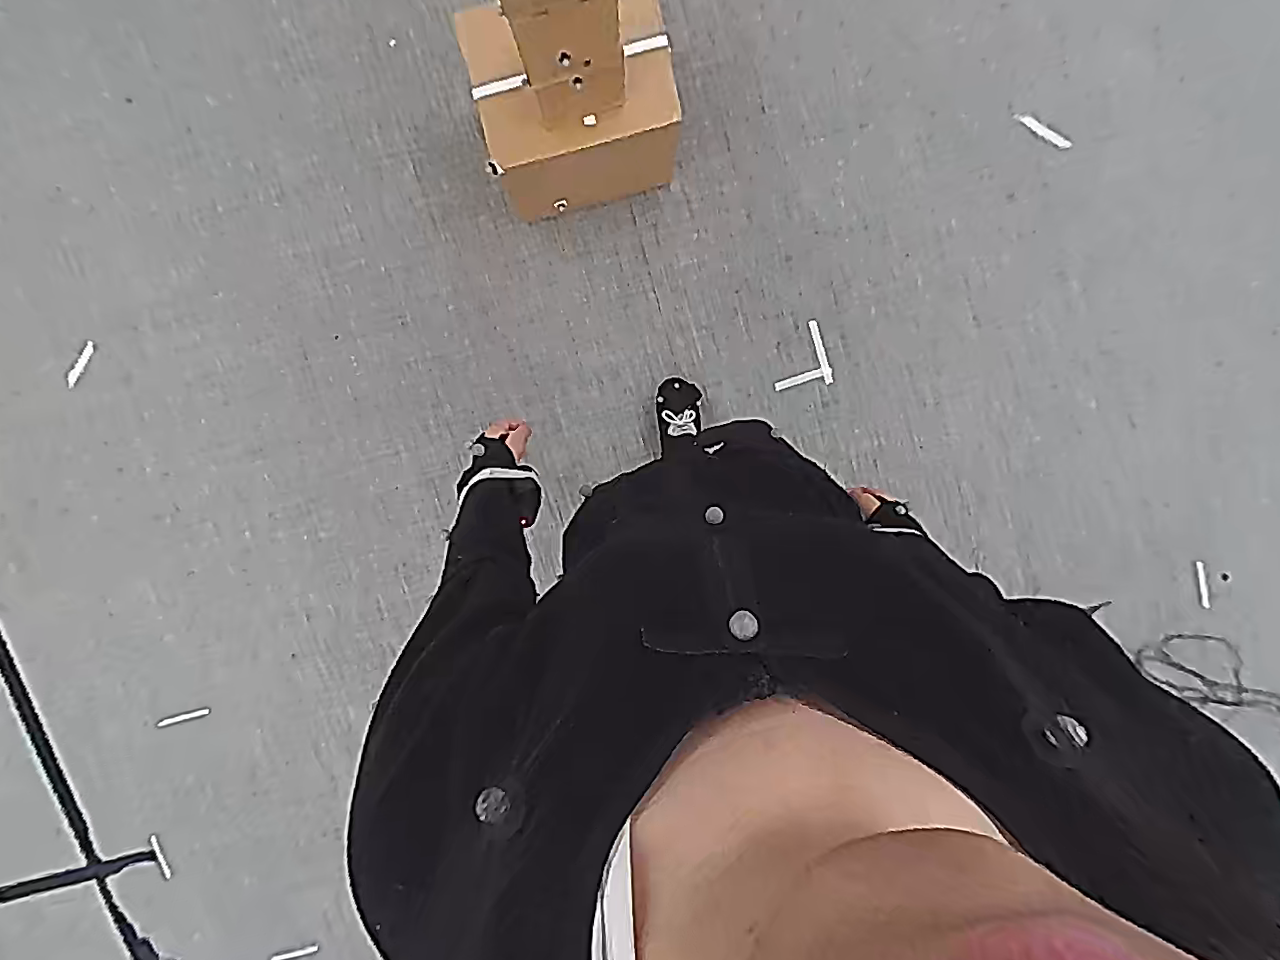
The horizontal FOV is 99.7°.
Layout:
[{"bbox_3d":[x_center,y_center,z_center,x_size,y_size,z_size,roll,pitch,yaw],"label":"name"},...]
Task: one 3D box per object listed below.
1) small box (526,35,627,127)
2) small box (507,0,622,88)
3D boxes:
[{"bbox_3d":[-0.128,-0.804,1.013,0.179,0.176,0.168,-17,97,1],"label":"small box"},{"bbox_3d":[-0.129,-0.775,0.853,0.168,0.176,0.179,-16,98,2],"label":"small box"}]
